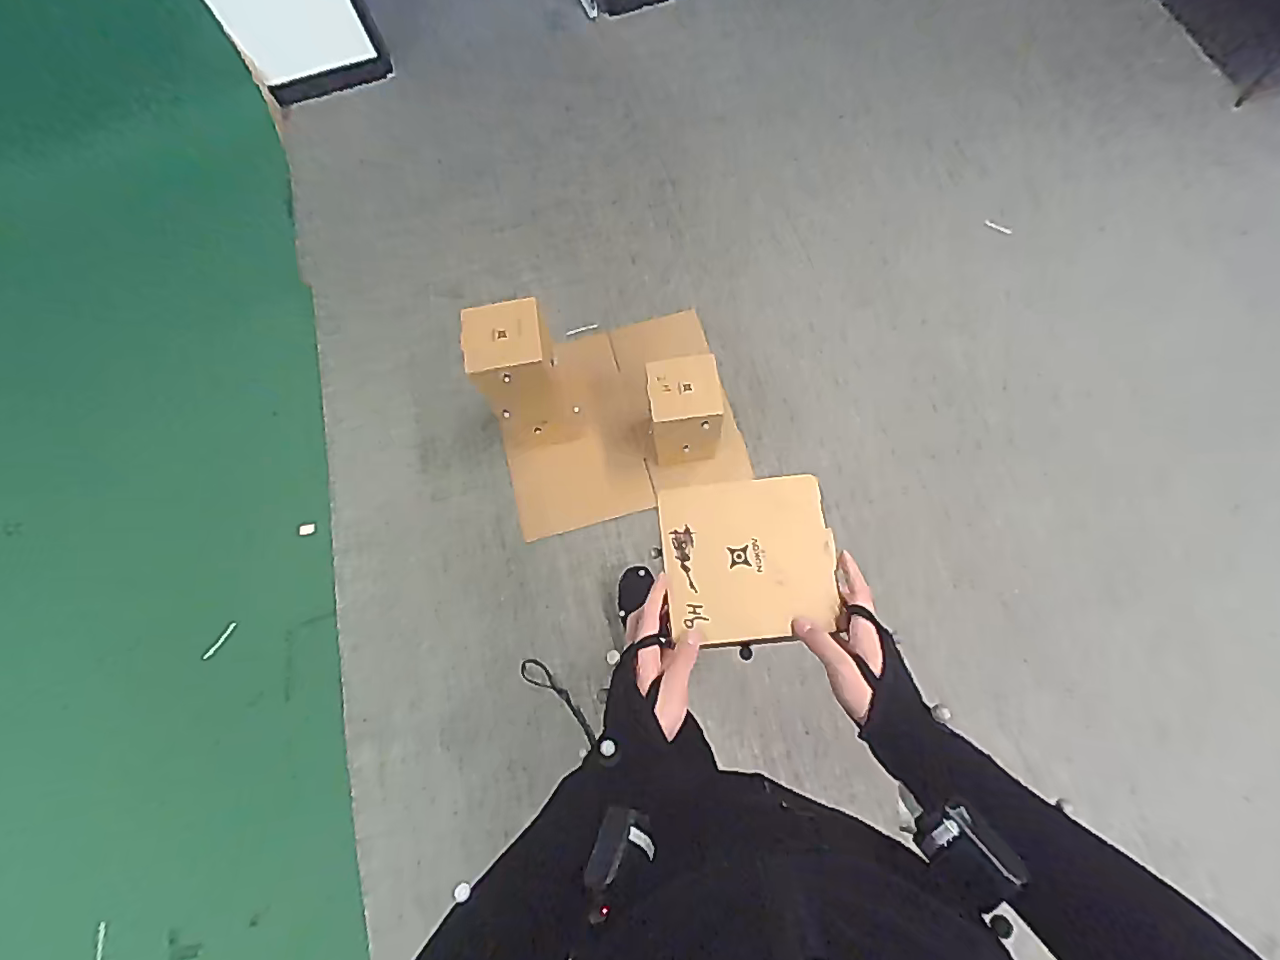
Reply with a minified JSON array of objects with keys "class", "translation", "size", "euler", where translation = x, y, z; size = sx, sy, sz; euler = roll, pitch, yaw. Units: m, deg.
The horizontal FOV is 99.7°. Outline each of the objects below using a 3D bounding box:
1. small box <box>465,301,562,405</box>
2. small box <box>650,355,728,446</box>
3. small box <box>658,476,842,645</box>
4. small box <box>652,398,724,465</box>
[{"class":"small box","translation":[-0.294,-0.292,1.275],"size":[0.179,0.176,0.168],"euler":[-9,72,2]},{"class":"small box","translation":[0.122,-0.198,1.382],"size":[0.179,0.176,0.168],"euler":[-7,71,4]},{"class":"small box","translation":[0.114,0.103,0.639],"size":[0.179,0.176,0.168],"euler":[-5,71,2]},{"class":"small box","translation":[0.134,-0.155,1.541],"size":[0.179,0.176,0.168],"euler":[-11,71,2]}]
